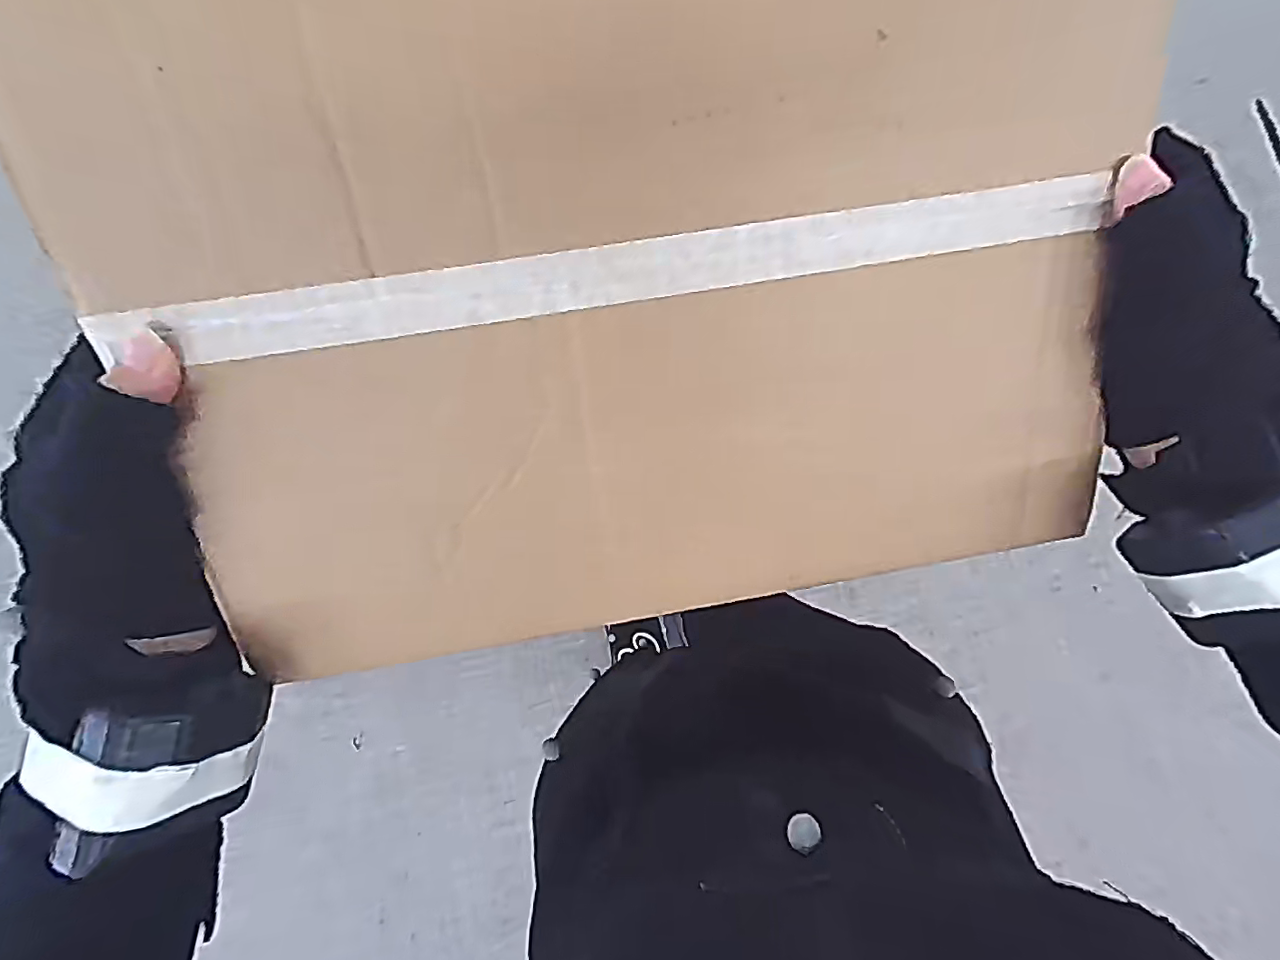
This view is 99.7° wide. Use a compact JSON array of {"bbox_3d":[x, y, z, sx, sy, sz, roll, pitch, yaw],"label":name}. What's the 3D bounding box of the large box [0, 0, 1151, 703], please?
[{"bbox_3d":[-0.012,-0.118,0.358,0.408,0.320,0.320,-10,111,-4],"label":"large box"}]
